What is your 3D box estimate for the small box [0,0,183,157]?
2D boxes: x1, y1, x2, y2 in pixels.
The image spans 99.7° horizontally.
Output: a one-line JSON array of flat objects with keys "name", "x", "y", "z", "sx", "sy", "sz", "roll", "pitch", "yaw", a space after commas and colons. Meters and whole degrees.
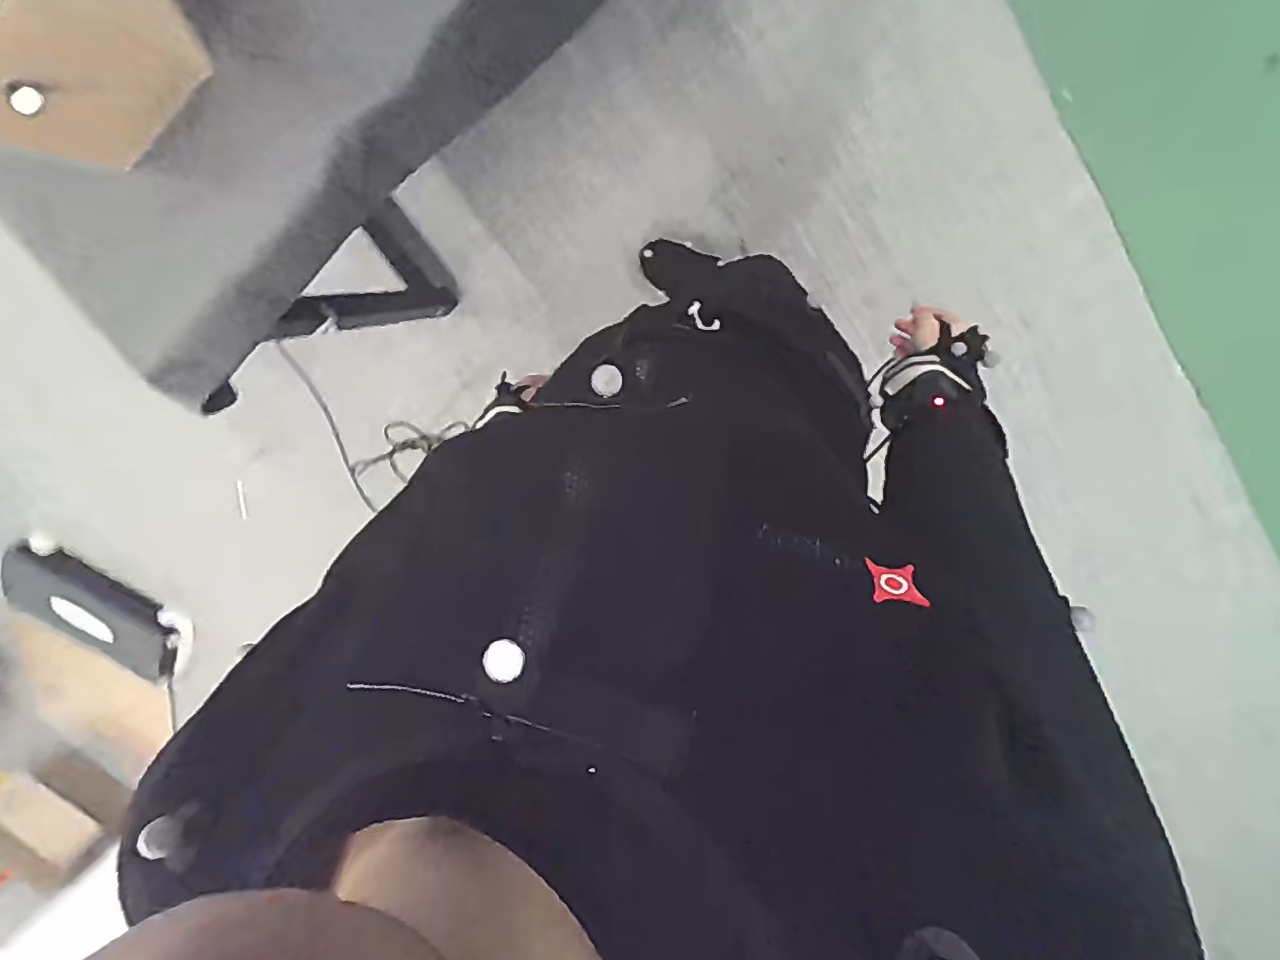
[{"name": "small box", "x": -0.554, "y": -0.417, "z": 0.463, "sx": 0.179, "sy": 0.176, "sz": 0.168, "roll": -27, "pitch": 104, "yaw": 19}]
